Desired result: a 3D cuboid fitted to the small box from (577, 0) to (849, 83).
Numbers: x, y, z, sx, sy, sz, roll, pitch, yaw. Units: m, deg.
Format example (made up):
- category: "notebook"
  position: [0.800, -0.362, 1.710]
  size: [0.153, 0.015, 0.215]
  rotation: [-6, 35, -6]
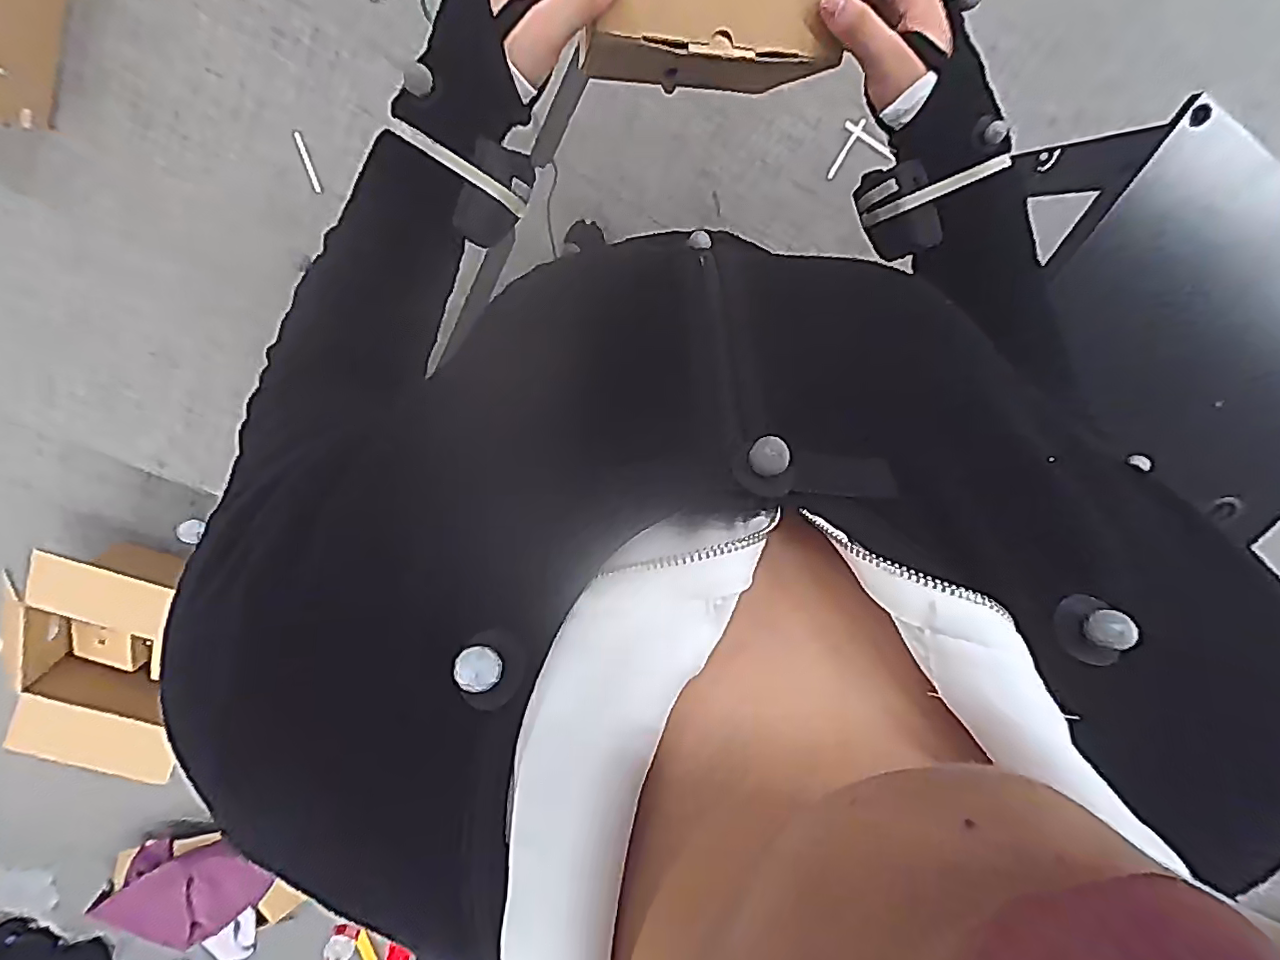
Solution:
- category: "small box"
  position: [0.043, -0.392, 0.365]
  size: [0.168, 0.176, 0.179]
  rotation: [-1, 121, -8]
